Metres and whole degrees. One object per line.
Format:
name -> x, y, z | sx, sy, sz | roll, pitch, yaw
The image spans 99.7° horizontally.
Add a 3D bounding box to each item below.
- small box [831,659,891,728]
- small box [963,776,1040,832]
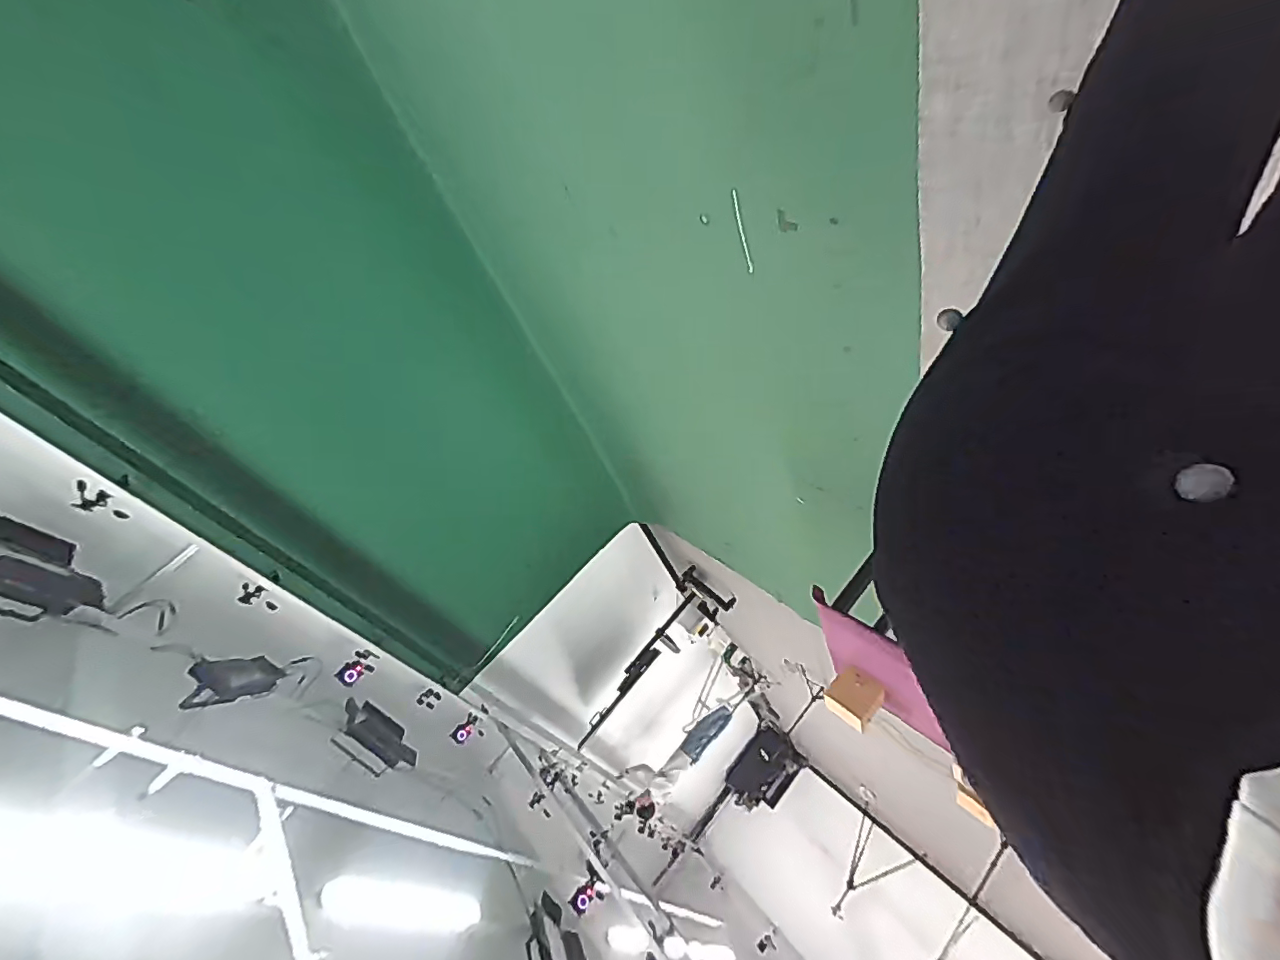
small box -> 0.901, 0.867, 2.202 | 0.168, 0.176, 0.179 | 31, 158, 39
small box -> 1.234, 1.054, 1.848 | 0.168, 0.176, 0.179 | 30, 157, 44
